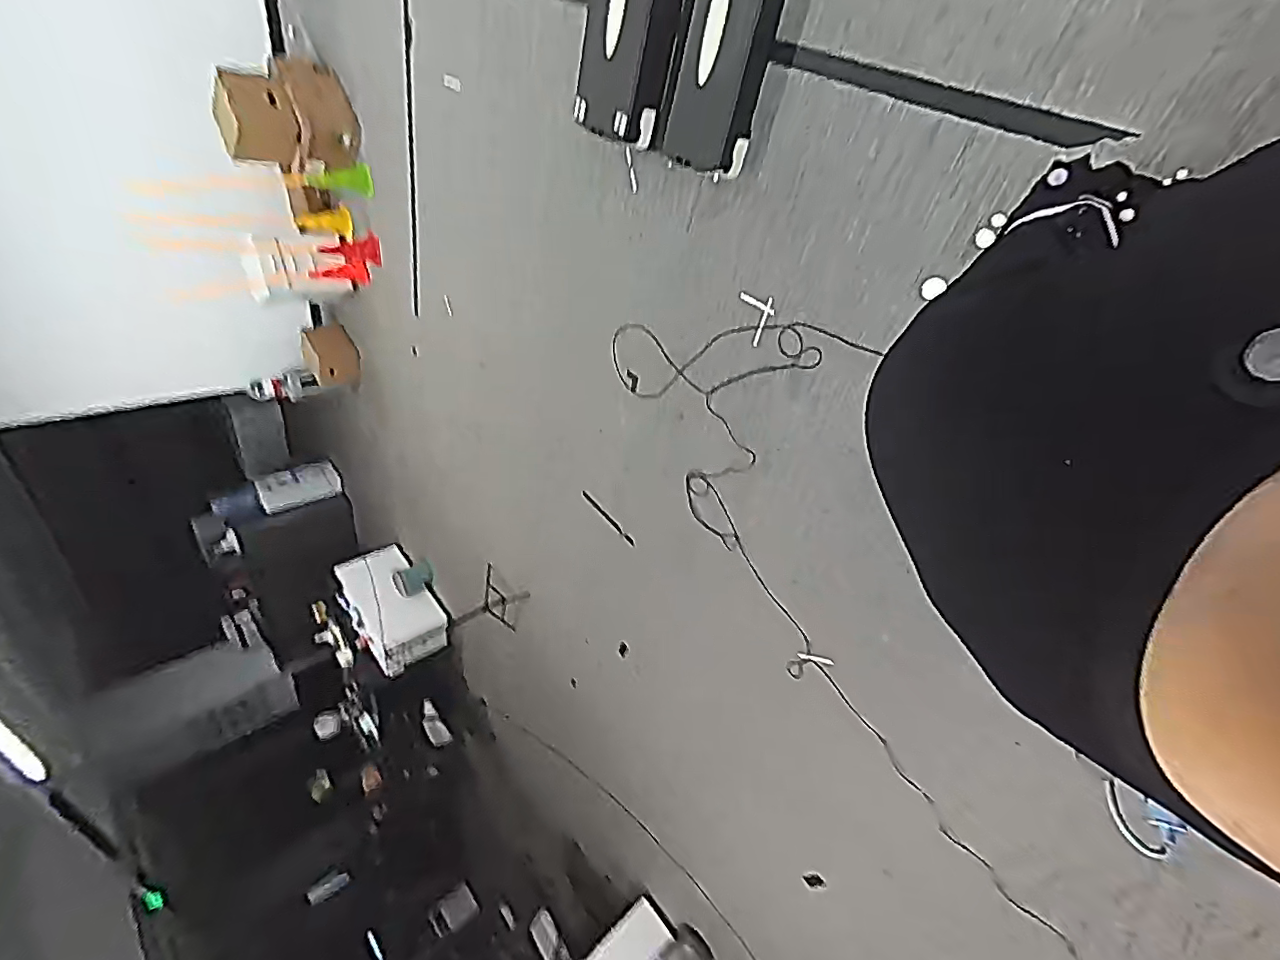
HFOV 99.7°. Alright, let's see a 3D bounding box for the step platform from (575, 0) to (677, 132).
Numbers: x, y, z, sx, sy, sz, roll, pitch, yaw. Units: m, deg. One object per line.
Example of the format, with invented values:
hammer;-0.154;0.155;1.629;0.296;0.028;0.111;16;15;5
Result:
step platform;0.006;-1.418;1.551;0.286;0.204;0.684;40;132;29
